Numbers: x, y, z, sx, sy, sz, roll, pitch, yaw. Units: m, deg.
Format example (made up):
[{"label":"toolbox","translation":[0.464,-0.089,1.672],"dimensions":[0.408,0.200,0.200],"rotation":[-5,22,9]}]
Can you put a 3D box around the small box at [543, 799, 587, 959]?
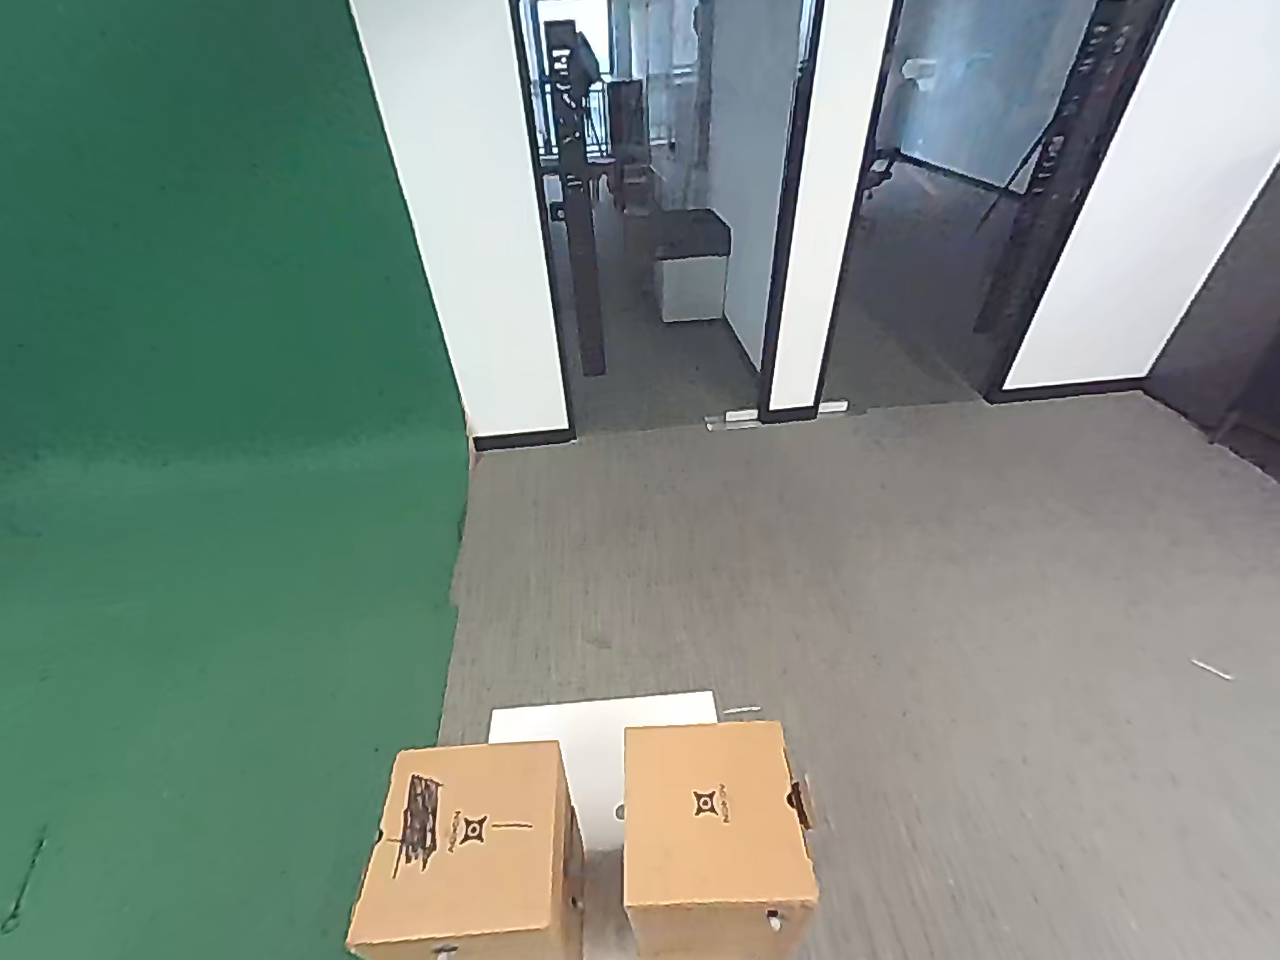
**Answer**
[{"label":"small box","translation":[-0.162,0.526,0.681],"dimensions":[0.179,0.176,0.168],"rotation":[-2,40,-2]}]

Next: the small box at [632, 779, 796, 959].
[{"label":"small box","translation":[0.083,0.508,0.693],"dimensions":[0.179,0.176,0.168],"rotation":[-5,39,0]}]

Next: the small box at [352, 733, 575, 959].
[{"label":"small box","translation":[-0.166,0.396,0.578],"dimensions":[0.179,0.176,0.168],"rotation":[-2,40,-3]}]
